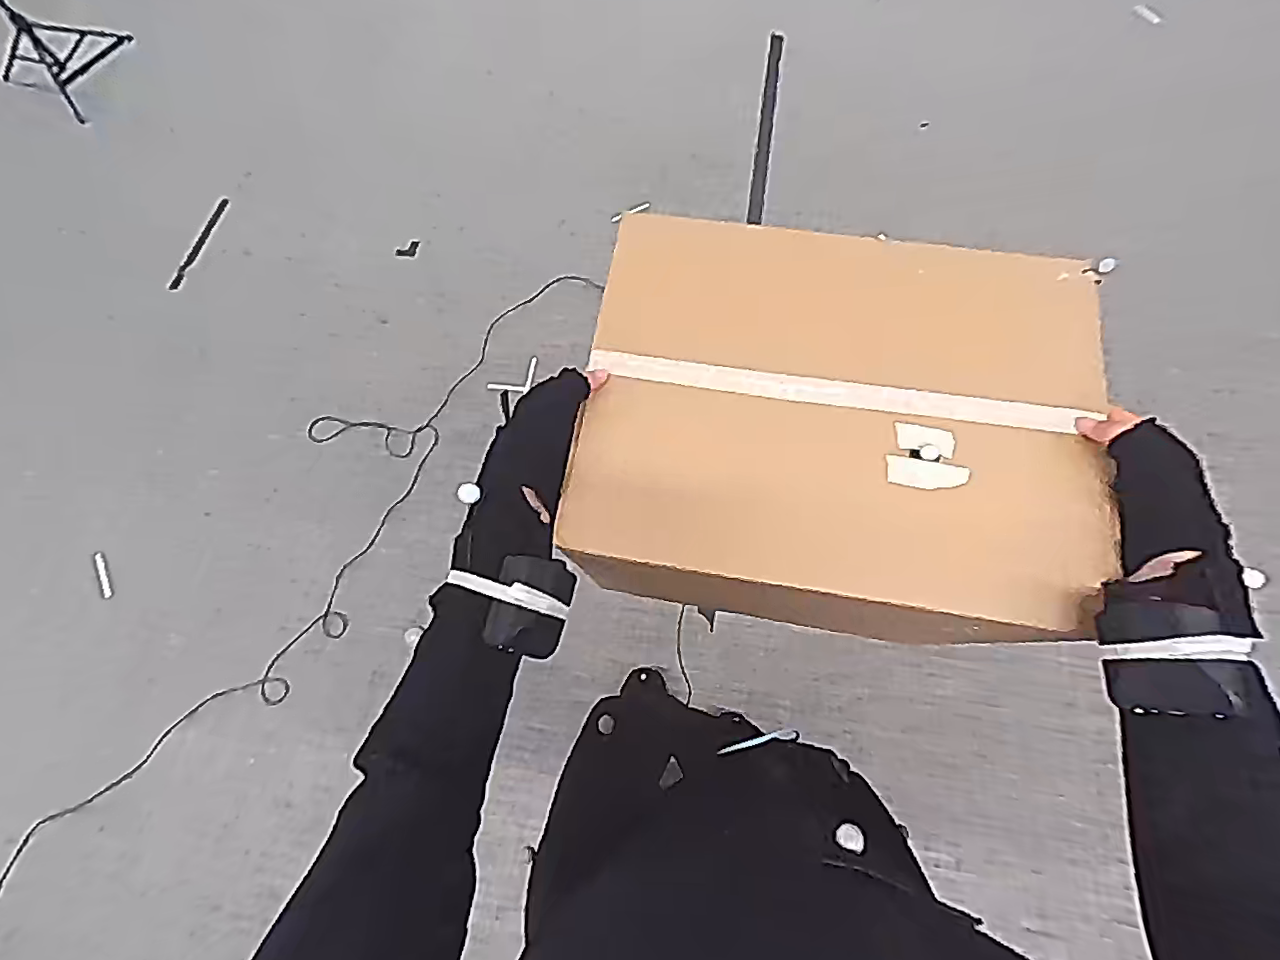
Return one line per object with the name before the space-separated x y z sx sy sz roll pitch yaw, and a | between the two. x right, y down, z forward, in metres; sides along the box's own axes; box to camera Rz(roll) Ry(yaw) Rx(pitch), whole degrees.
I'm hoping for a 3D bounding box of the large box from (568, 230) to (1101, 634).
large box | 0.163 -0.022 0.588 0.408 0.320 0.320 8 74 5
